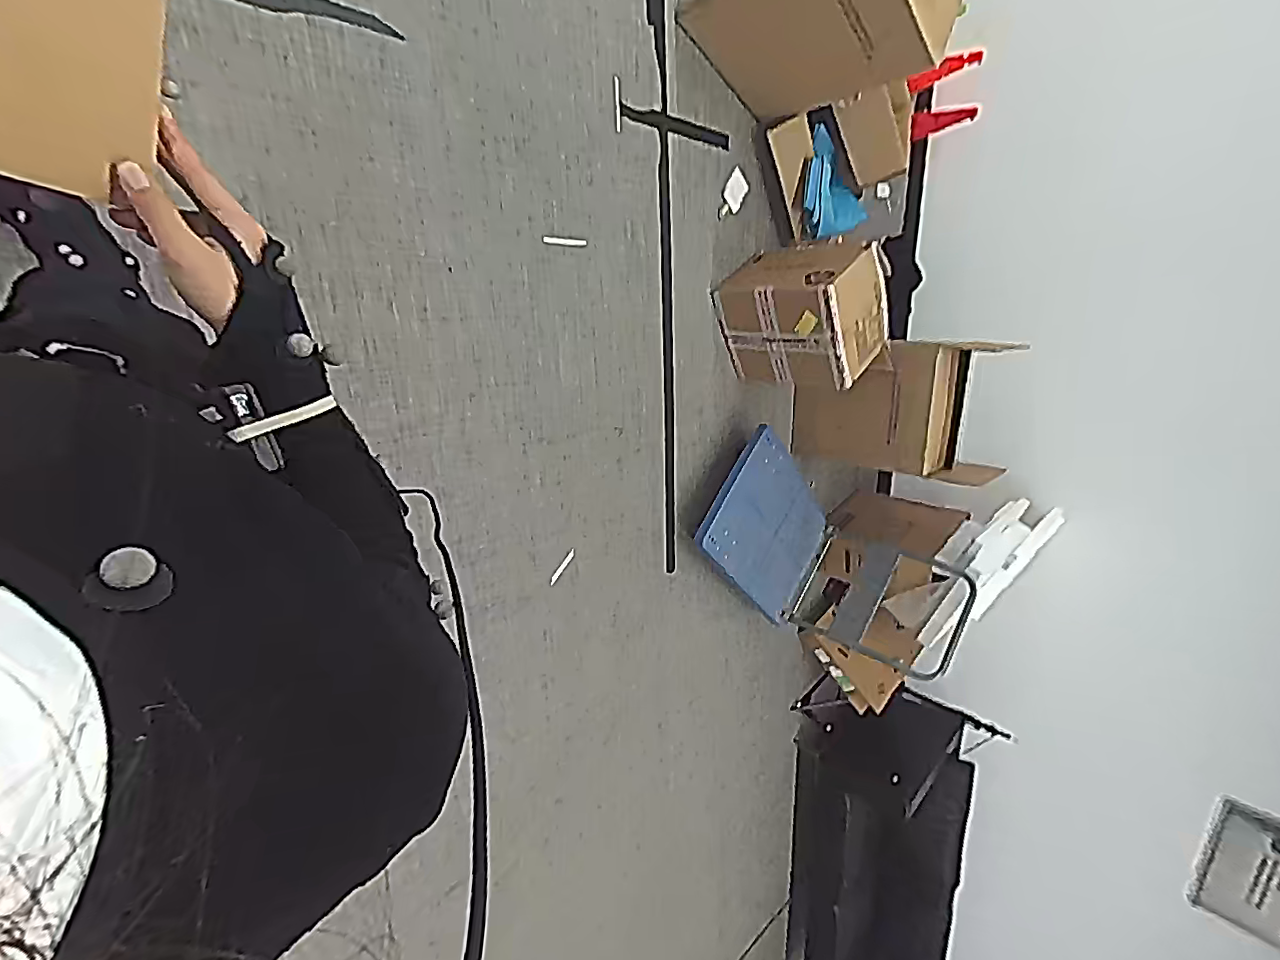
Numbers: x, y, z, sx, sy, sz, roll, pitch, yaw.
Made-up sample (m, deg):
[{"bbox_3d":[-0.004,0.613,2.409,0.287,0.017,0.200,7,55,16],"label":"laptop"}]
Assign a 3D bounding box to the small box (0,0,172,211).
[{"bbox_3d":[-0.388,-0.278,0.300,0.179,0.176,0.168,1,116,-47],"label":"small box"}]
